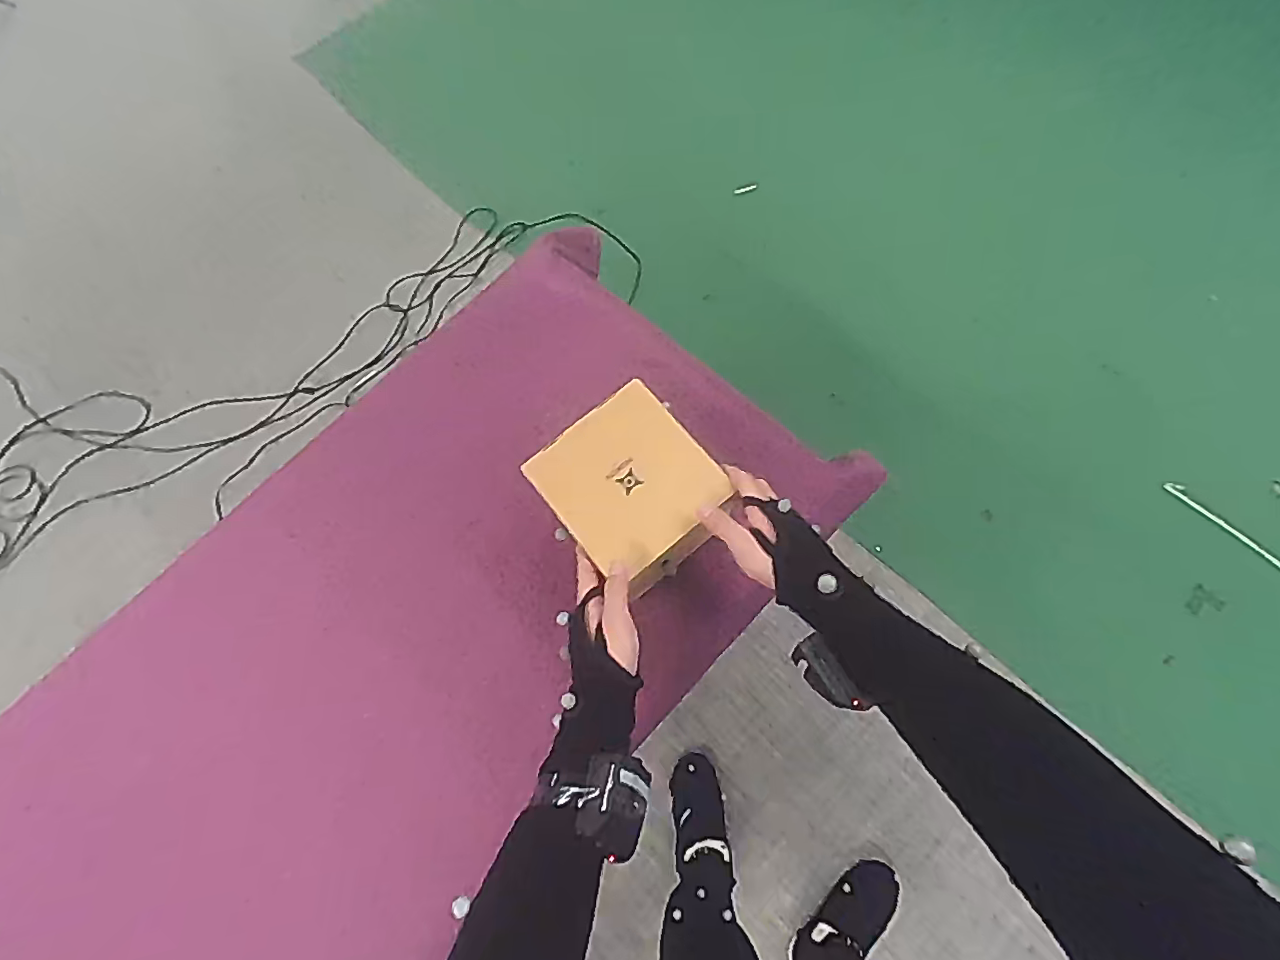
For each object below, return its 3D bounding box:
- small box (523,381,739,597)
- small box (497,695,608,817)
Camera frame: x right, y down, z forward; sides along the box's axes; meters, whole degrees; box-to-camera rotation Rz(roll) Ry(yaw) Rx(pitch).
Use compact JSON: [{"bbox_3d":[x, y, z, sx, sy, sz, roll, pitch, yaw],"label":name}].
[{"bbox_3d":[-0.004,0.024,0.639,0.168,0.176,0.179,-38,72,-7],"label":"small box"},{"bbox_3d":[-0.187,0.608,1.224,0.168,0.176,0.179,35,78,15],"label":"small box"}]
